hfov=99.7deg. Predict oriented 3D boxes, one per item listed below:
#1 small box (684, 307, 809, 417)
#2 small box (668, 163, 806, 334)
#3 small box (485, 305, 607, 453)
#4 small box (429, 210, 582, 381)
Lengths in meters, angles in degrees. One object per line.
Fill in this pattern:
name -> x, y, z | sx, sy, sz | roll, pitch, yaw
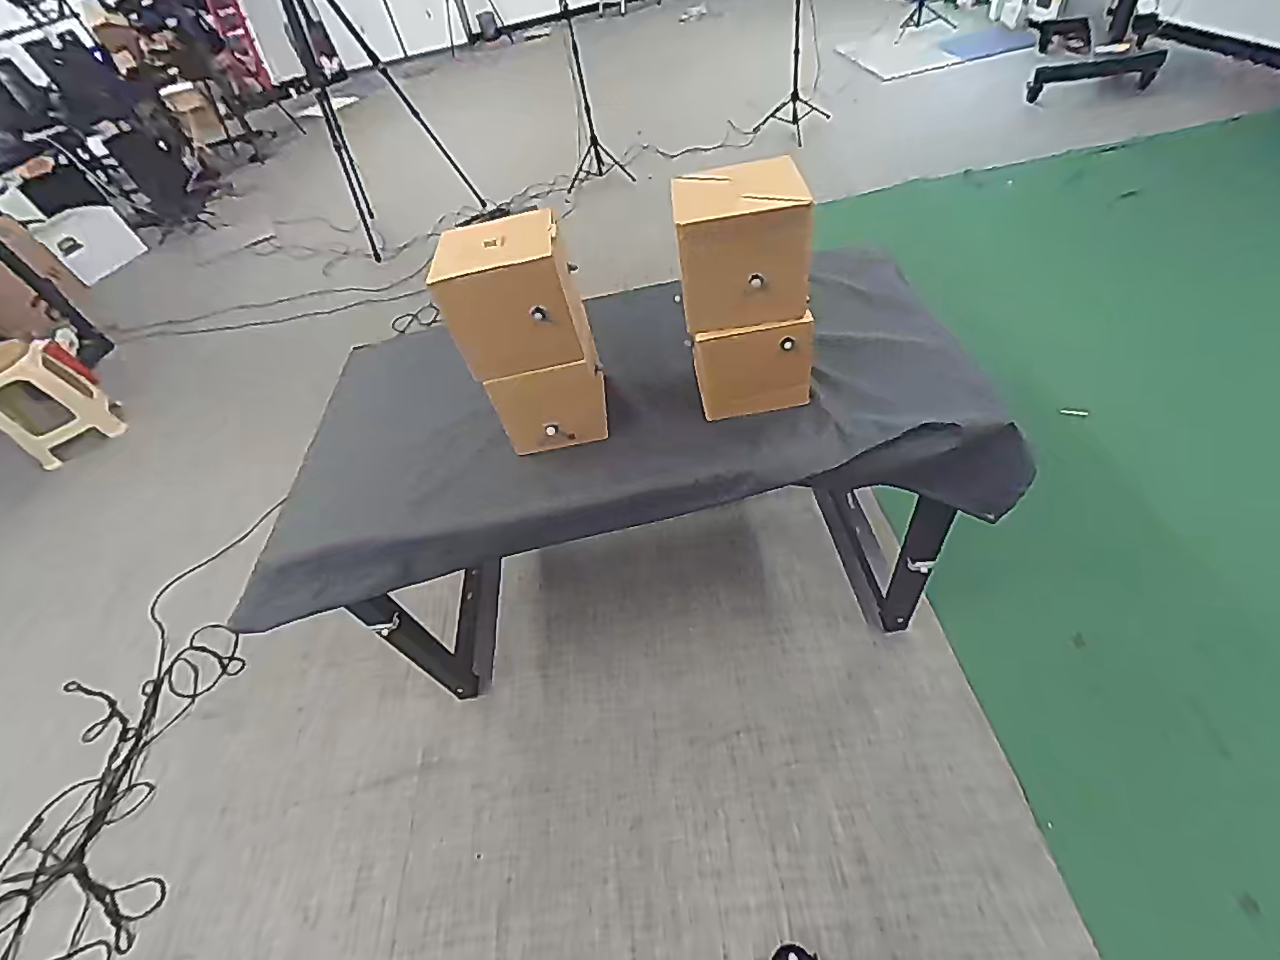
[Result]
small box -> 0.176, -0.225, 0.915 | 0.179, 0.176, 0.168 | -9, 48, 5
small box -> 0.142, -0.345, 0.801 | 0.179, 0.176, 0.168 | -6, 48, 8
small box -> -0.156, -0.174, 0.944 | 0.168, 0.176, 0.179 | -11, 49, 4
small box -> -0.190, -0.277, 0.823 | 0.179, 0.176, 0.168 | -12, 47, 4
